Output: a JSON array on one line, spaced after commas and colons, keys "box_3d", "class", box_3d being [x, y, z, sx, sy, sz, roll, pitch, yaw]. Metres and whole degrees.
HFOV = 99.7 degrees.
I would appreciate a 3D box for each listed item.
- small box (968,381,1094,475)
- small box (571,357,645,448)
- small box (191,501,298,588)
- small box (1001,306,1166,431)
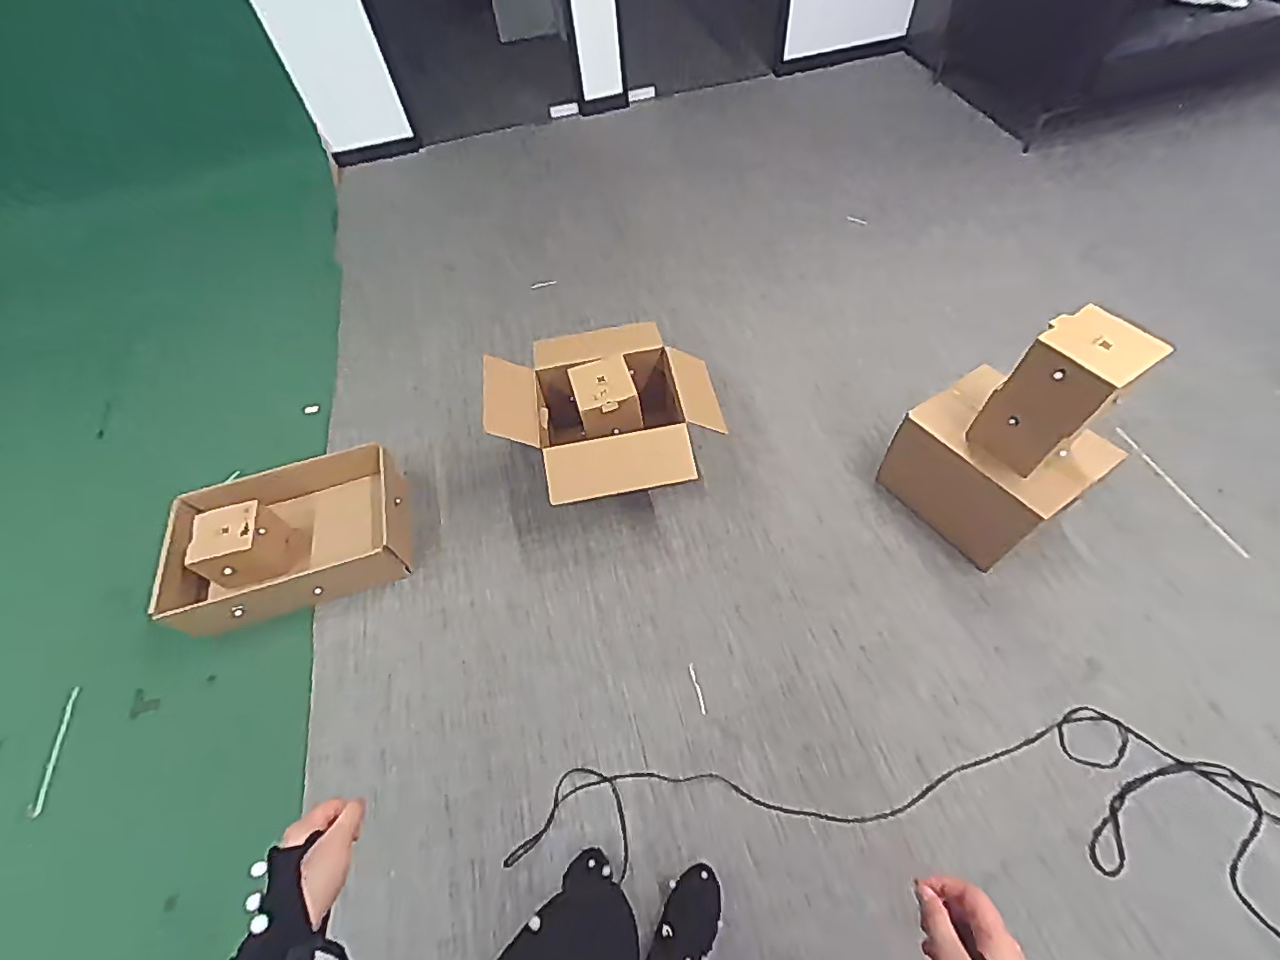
[{"box_3d": [0.934, -0.146, 1.291, 0.168, 0.176, 0.179, -31, 59, -13], "class": "small box"}, {"box_3d": [-0.092, -0.224, 1.582, 0.168, 0.176, 0.179, -17, 56, -3], "class": "small box"}, {"box_3d": [-1.135, 0.191, 1.564, 0.179, 0.176, 0.168, -15, 55, -5], "class": "small box"}, {"box_3d": [0.926, -0.226, 1.149, 0.168, 0.176, 0.179, -31, 58, -13], "class": "small box"}]
